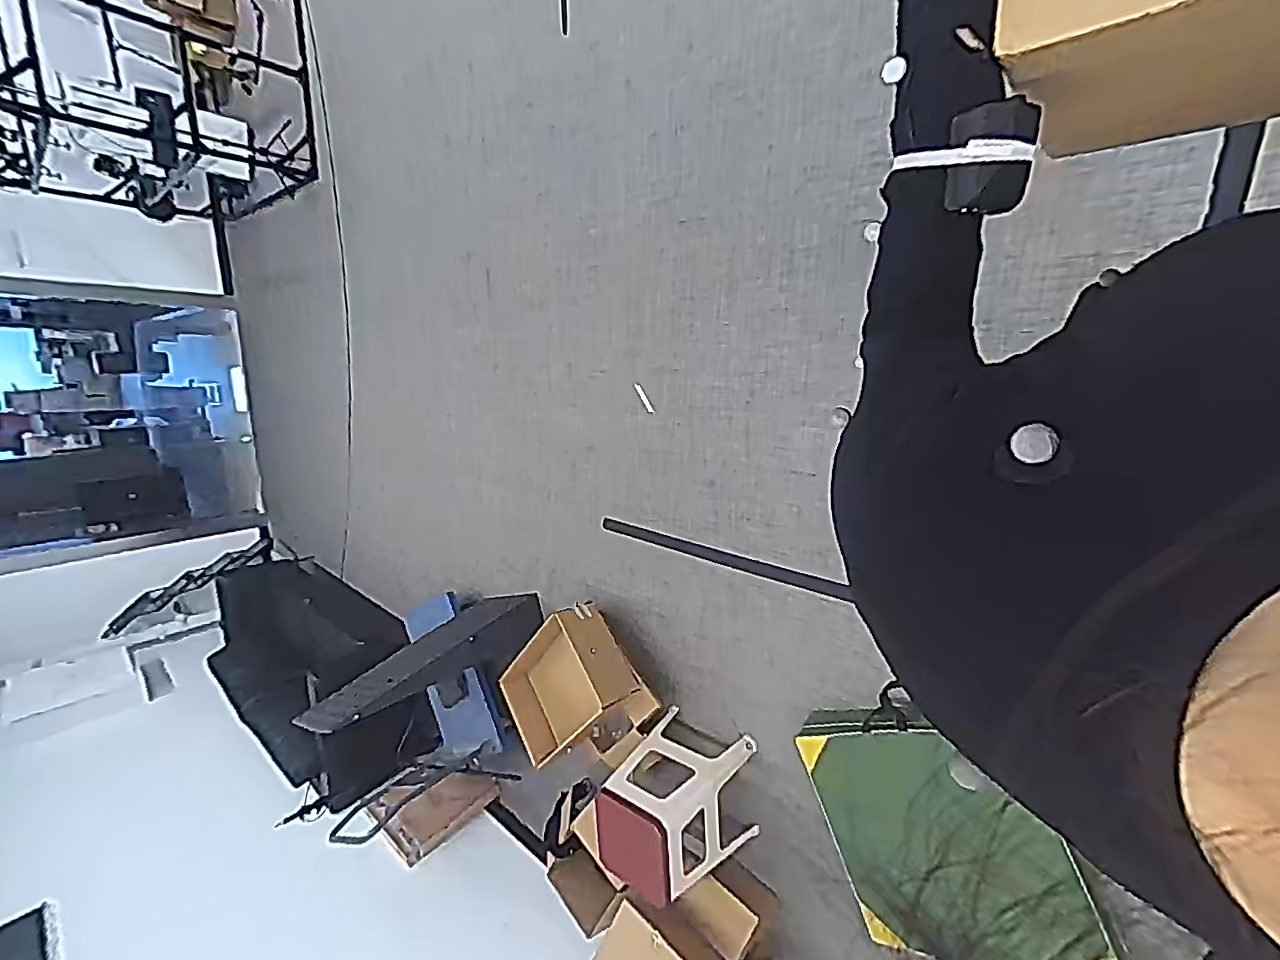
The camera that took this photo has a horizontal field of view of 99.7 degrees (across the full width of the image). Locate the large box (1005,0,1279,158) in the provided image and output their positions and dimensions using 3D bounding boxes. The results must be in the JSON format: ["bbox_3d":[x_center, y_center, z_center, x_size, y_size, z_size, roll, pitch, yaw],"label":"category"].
[{"bbox_3d":[0.478,-0.431,0.305,0.408,0.320,0.320,10,110,40],"label":"large box"}]
